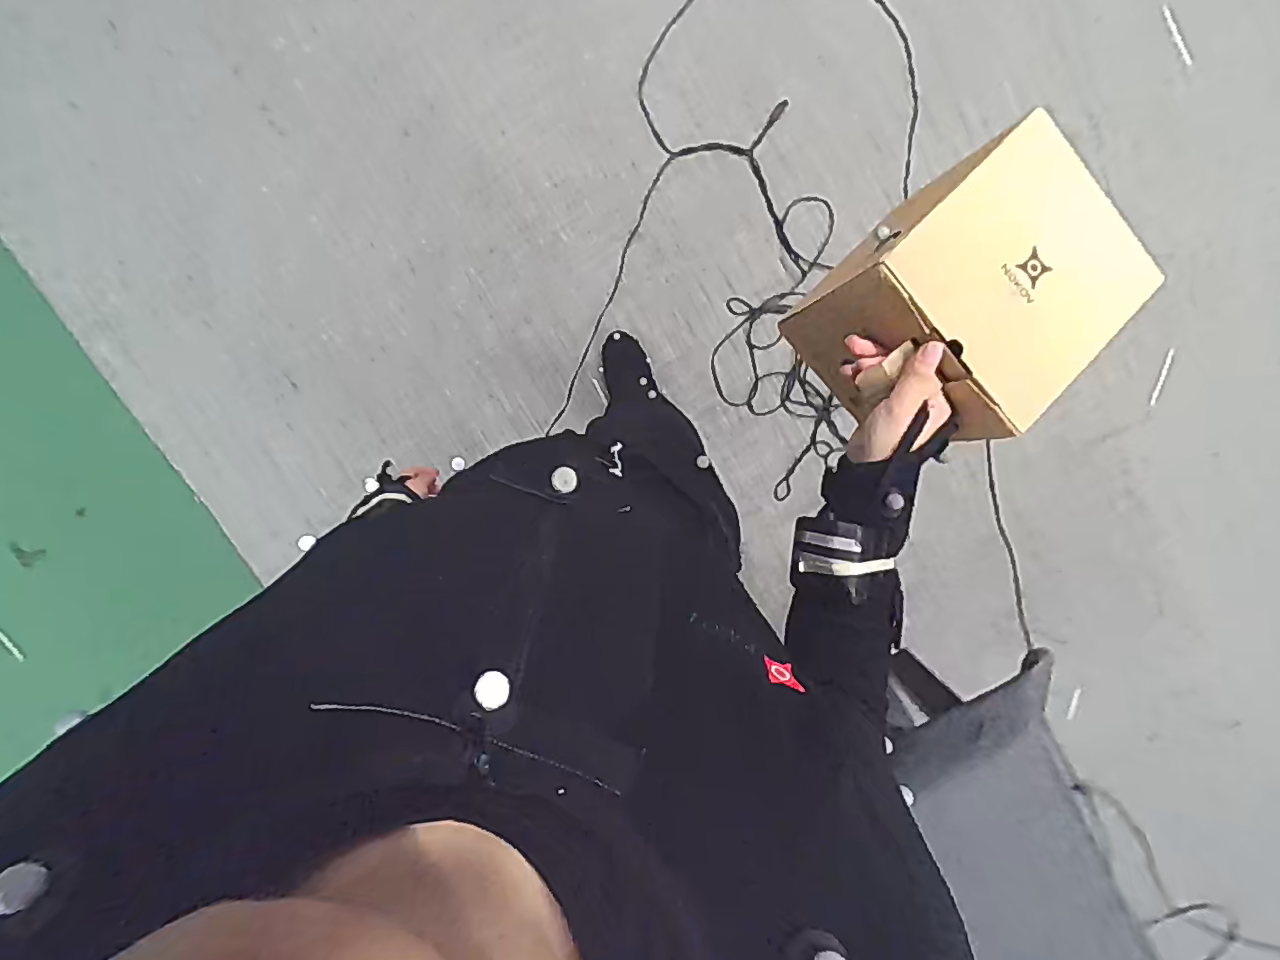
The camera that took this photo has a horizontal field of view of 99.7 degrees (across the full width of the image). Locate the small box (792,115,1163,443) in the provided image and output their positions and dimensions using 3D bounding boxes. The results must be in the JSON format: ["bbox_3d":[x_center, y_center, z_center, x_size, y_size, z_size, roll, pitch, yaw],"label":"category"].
[{"bbox_3d":[0.267,-0.148,0.466,0.179,0.176,0.168,-44,99,-6],"label":"small box"}]
